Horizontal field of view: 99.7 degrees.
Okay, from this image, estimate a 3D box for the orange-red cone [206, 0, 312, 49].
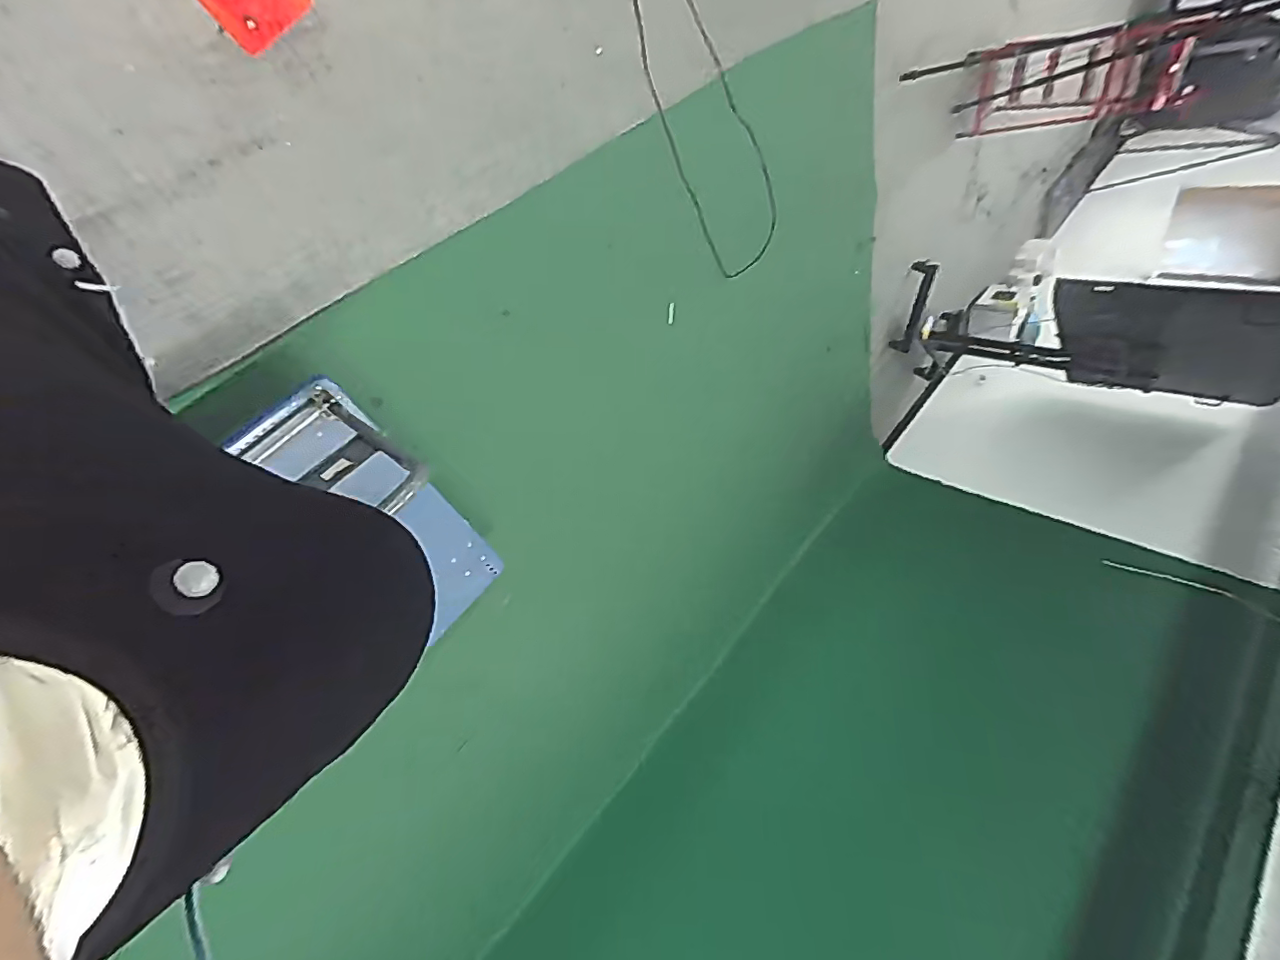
[{"bbox_3d":[-0.685,-0.971,0.985,0.199,0.360,0.198,-55,141,-13],"label":"orange-red cone"}]
